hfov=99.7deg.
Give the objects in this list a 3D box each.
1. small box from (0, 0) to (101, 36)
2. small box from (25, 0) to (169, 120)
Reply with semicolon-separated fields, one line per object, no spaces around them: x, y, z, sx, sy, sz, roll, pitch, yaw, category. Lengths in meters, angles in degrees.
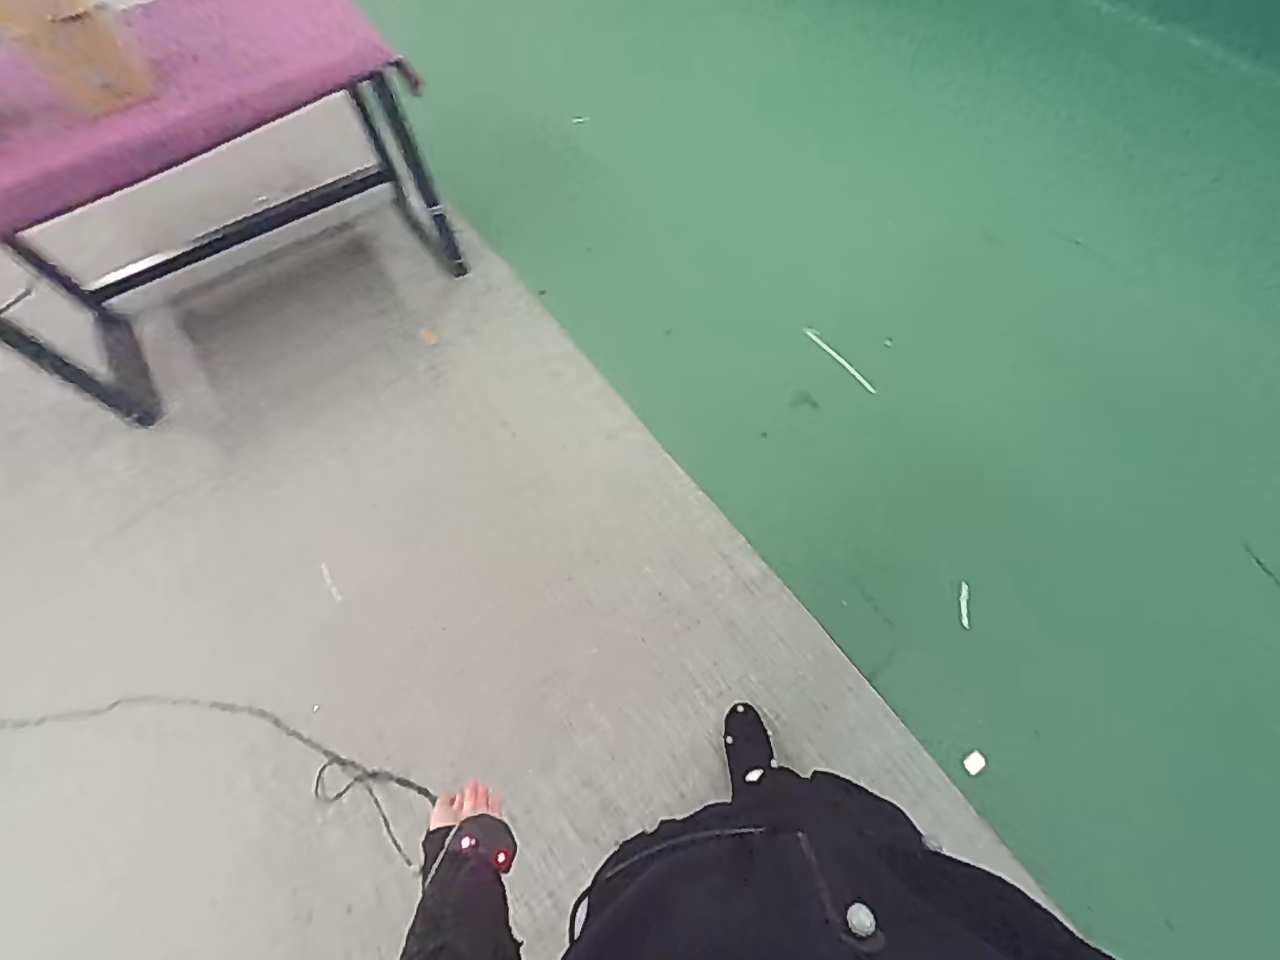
-1.250;-1.035;1.086;0.179;0.176;0.168;-20;65;-8;small box
-1.237;-0.970;1.237;0.168;0.176;0.179;-30;67;-12;small box
